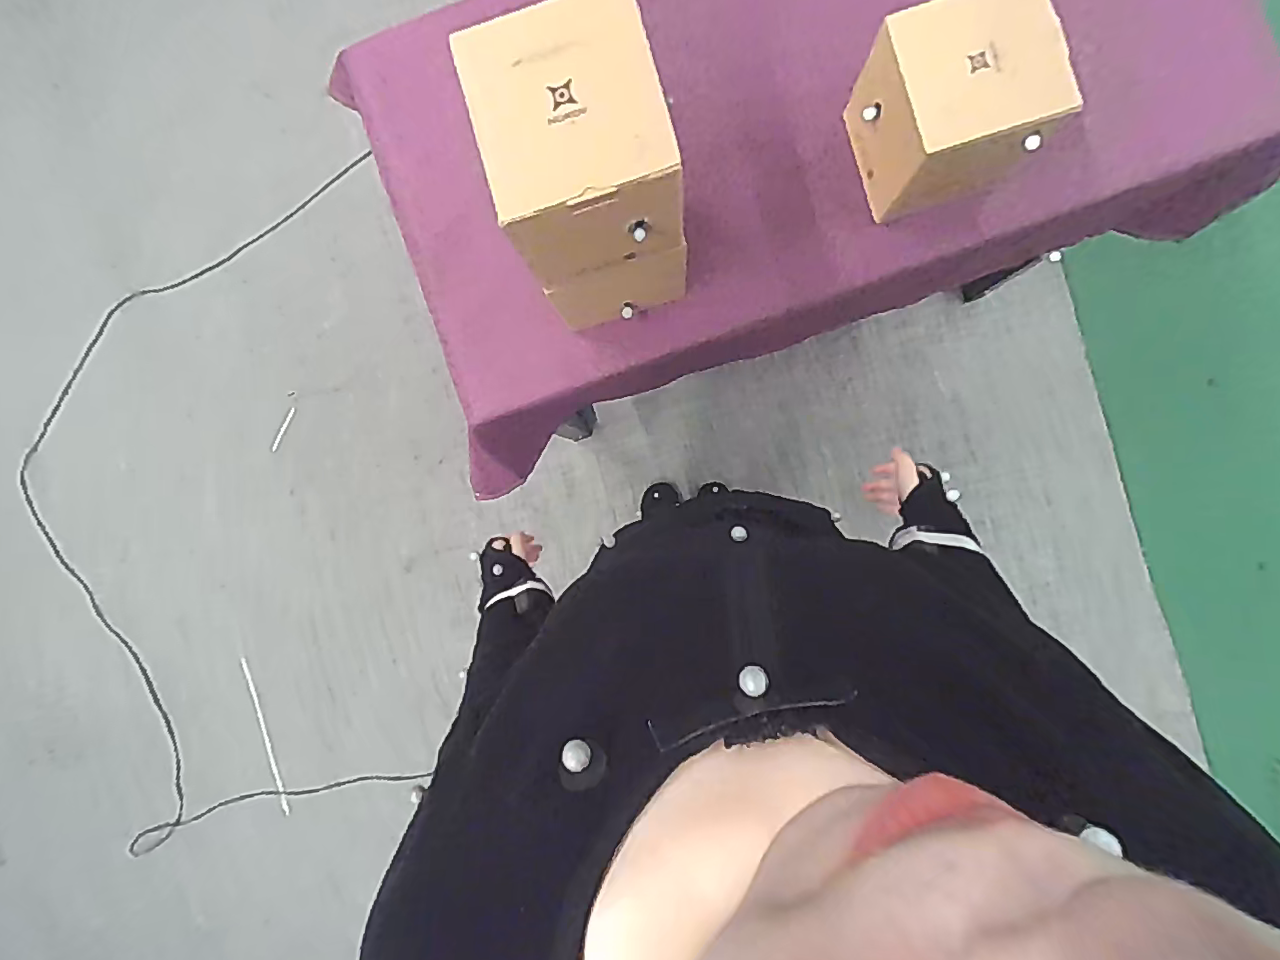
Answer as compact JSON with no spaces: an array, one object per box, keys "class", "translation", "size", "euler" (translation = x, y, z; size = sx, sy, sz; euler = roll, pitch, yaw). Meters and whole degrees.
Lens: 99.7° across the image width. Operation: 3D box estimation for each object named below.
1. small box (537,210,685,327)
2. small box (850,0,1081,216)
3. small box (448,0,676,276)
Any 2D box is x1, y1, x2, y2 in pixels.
[{"class":"small box","translation":[-0.048,-0.321,0.707],"size":[0.179,0.176,0.168],"euler":[-17,88,4]},{"class":"small box","translation":[0.380,-0.462,0.672],"size":[0.179,0.176,0.168],"euler":[-16,89,4]},{"class":"small box","translation":[-0.062,-0.326,0.543],"size":[0.168,0.176,0.179],"euler":[-15,88,4]}]
